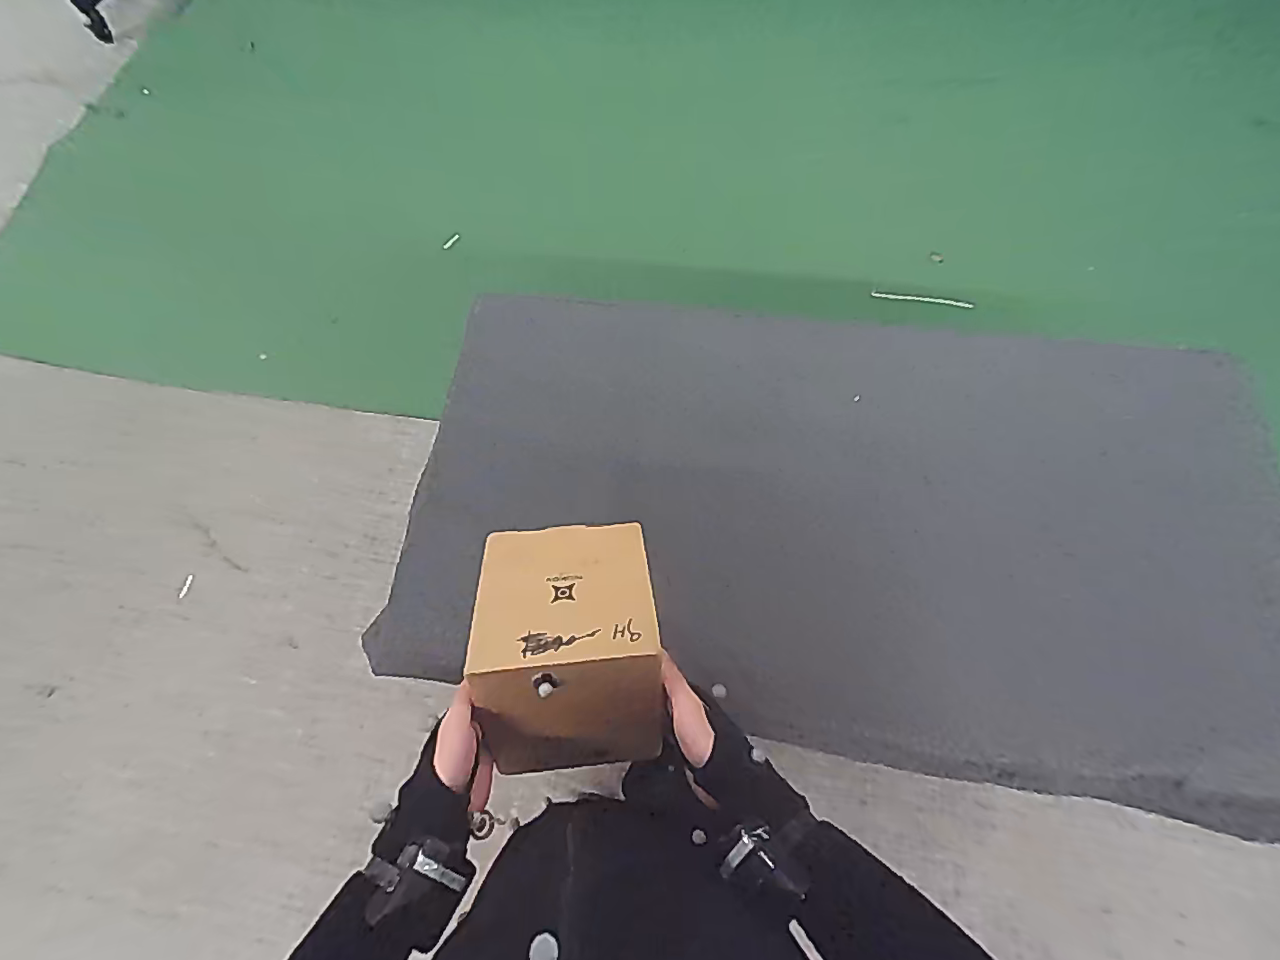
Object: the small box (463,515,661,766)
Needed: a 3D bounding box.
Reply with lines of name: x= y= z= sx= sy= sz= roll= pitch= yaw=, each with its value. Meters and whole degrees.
small box: x=-0.071 y=0.161 z=0.560 sx=0.168 sy=0.176 sz=0.179 roll=-6 pitch=36 yaw=-4
